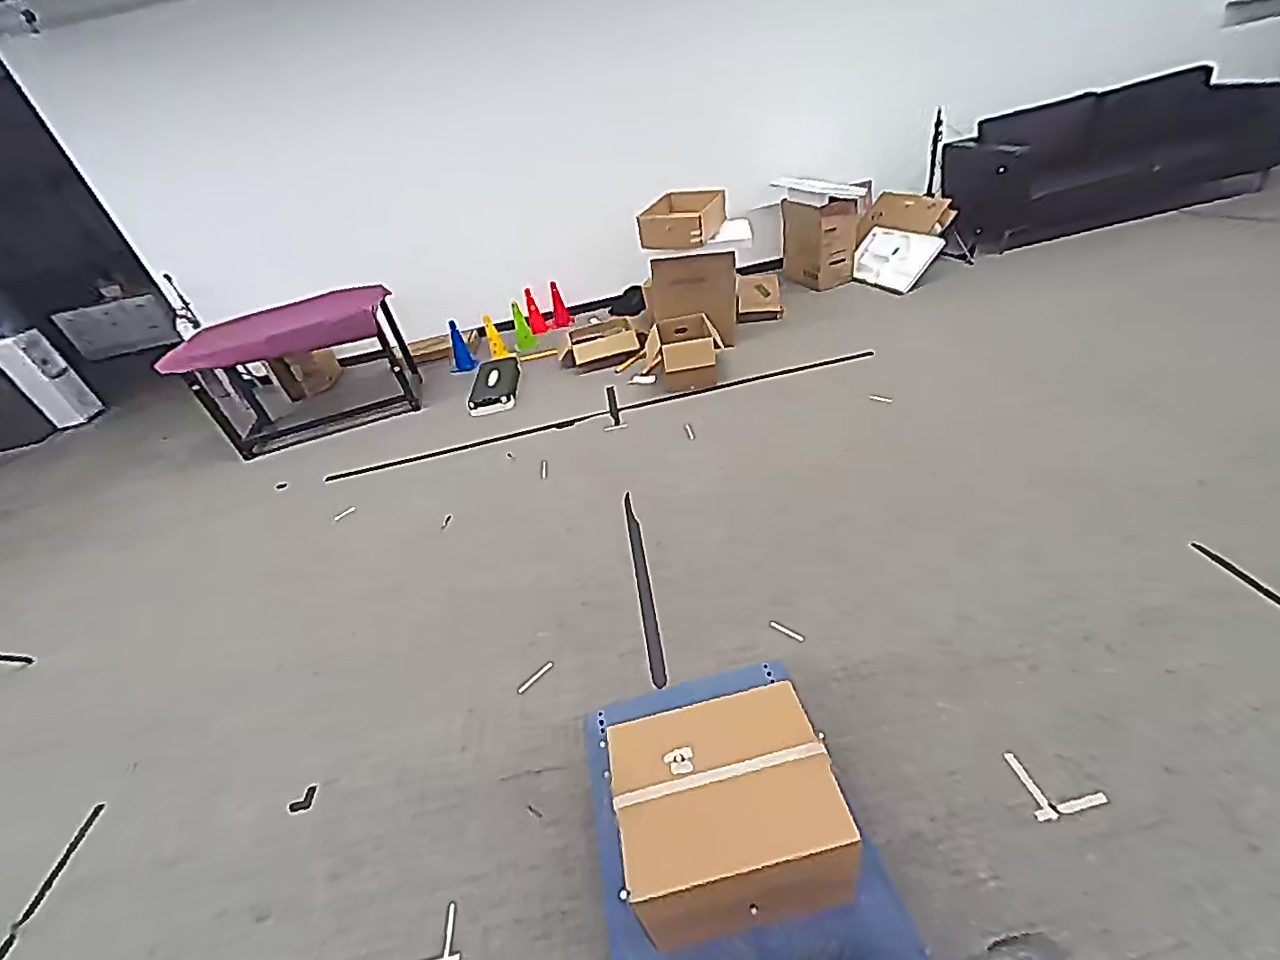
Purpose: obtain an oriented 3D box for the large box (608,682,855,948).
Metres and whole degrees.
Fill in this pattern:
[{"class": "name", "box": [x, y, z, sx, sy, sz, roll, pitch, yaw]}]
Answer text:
[{"class": "large box", "box": [0.179, 0.686, 1.117, 0.408, 0.320, 0.320, -15, 35, -1]}]
